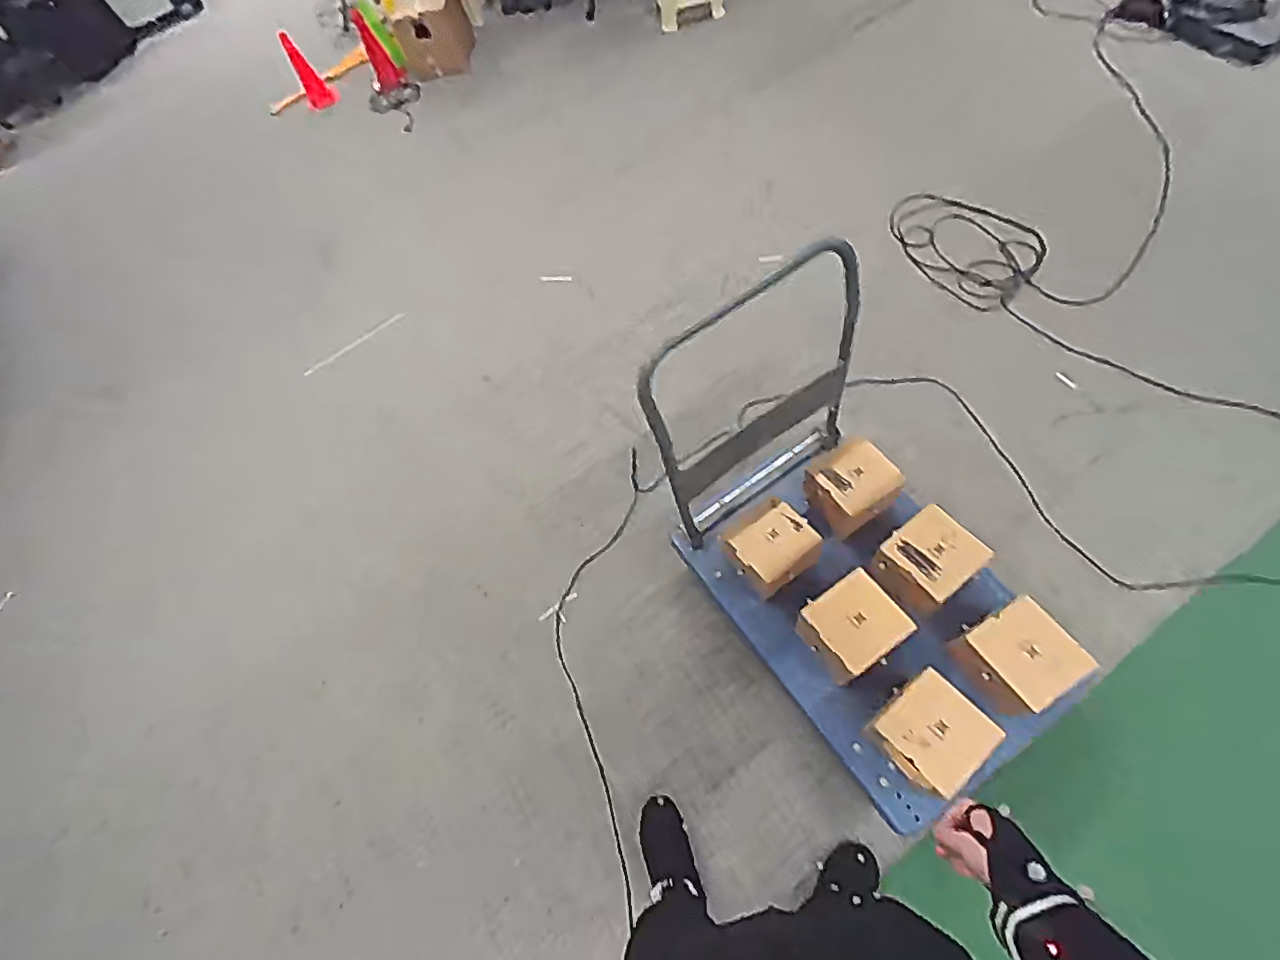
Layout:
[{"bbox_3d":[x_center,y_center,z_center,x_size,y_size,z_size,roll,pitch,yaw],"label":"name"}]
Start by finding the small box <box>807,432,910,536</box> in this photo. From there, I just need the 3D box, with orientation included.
[{"bbox_3d":[0.546,0.018,1.383,0.179,0.176,0.168,-32,62,-7],"label":"small box"}]

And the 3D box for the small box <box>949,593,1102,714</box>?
[{"bbox_3d":[0.802,0.375,1.152,0.168,0.176,0.179,-32,62,-5],"label":"small box"}]

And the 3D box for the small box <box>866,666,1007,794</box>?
[{"bbox_3d":[0.596,0.515,1.115,0.179,0.176,0.168,-35,59,-7],"label":"small box"}]

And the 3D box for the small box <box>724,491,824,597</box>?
[{"bbox_3d":[0.331,0.166,1.348,0.179,0.176,0.168,-37,62,-8],"label":"small box"}]
